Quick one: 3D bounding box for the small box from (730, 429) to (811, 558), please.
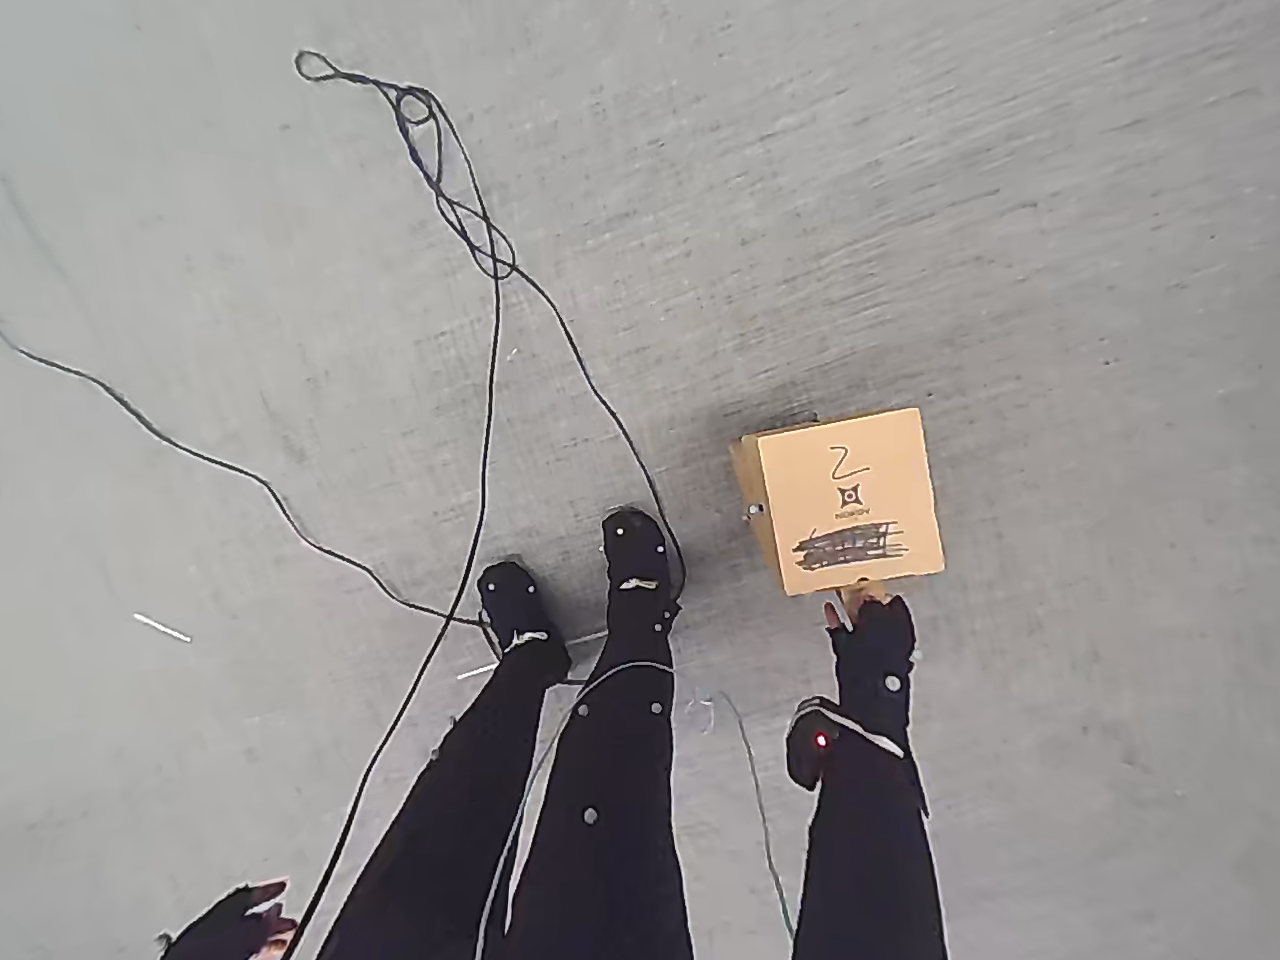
[{"bbox_3d":[0.266,0.016,0.975,0.168,0.176,0.179,-15,100,6],"label":"small box"}]

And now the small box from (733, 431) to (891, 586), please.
[{"bbox_3d":[0.245,0.031,0.811,0.168,0.176,0.179,-18,100,7],"label":"small box"}]
